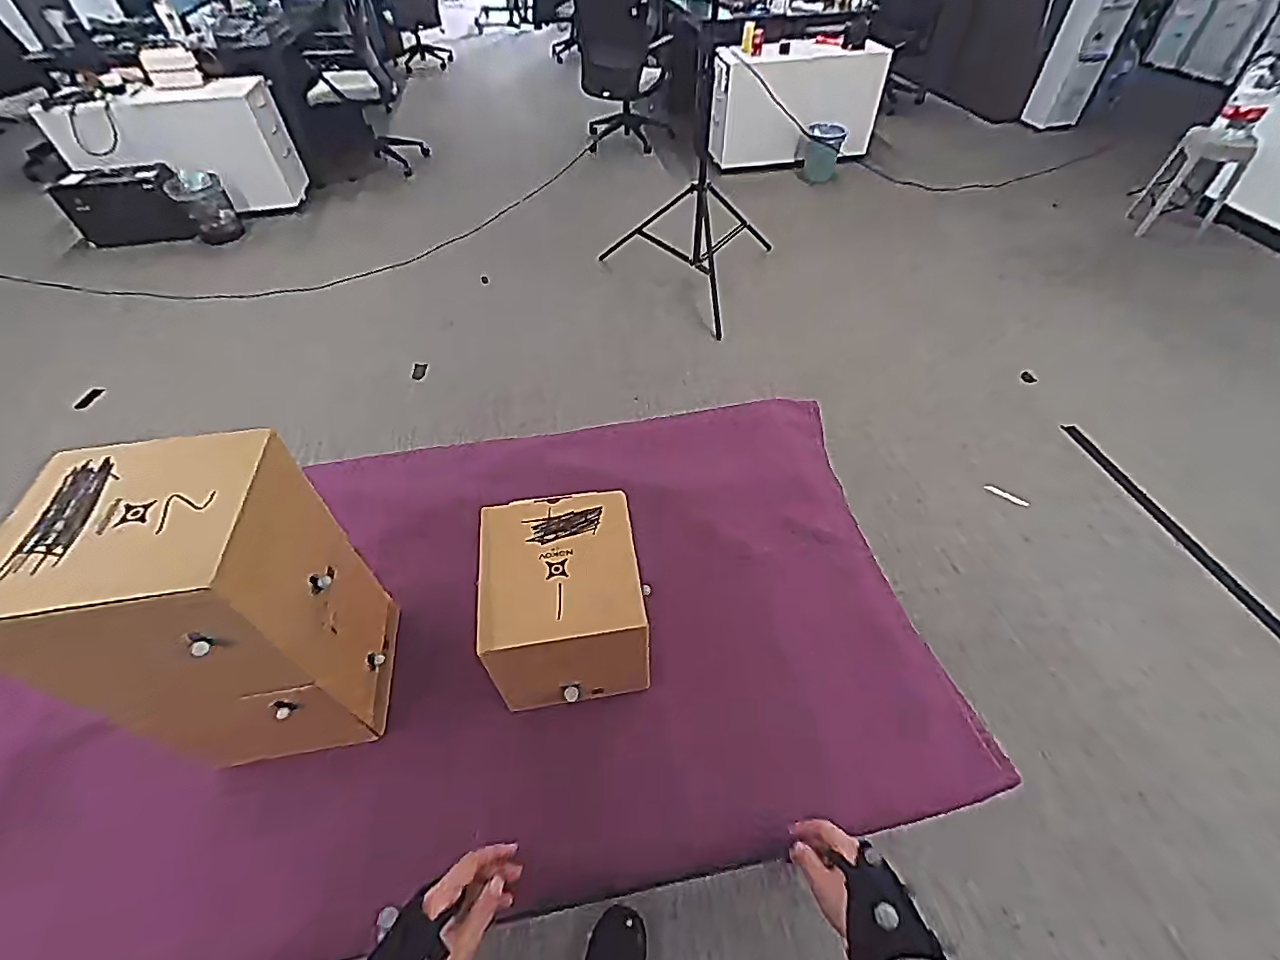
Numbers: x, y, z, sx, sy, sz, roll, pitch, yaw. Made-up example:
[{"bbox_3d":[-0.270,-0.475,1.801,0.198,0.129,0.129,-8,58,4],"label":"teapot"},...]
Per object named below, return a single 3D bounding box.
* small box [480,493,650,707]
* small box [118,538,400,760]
[{"bbox_3d":[-0.083,0.141,0.633,0.168,0.176,0.179,-7,49,-5],"label":"small box"},{"bbox_3d":[-0.391,0.190,0.598,0.179,0.176,0.168,-8,49,-7],"label":"small box"}]
